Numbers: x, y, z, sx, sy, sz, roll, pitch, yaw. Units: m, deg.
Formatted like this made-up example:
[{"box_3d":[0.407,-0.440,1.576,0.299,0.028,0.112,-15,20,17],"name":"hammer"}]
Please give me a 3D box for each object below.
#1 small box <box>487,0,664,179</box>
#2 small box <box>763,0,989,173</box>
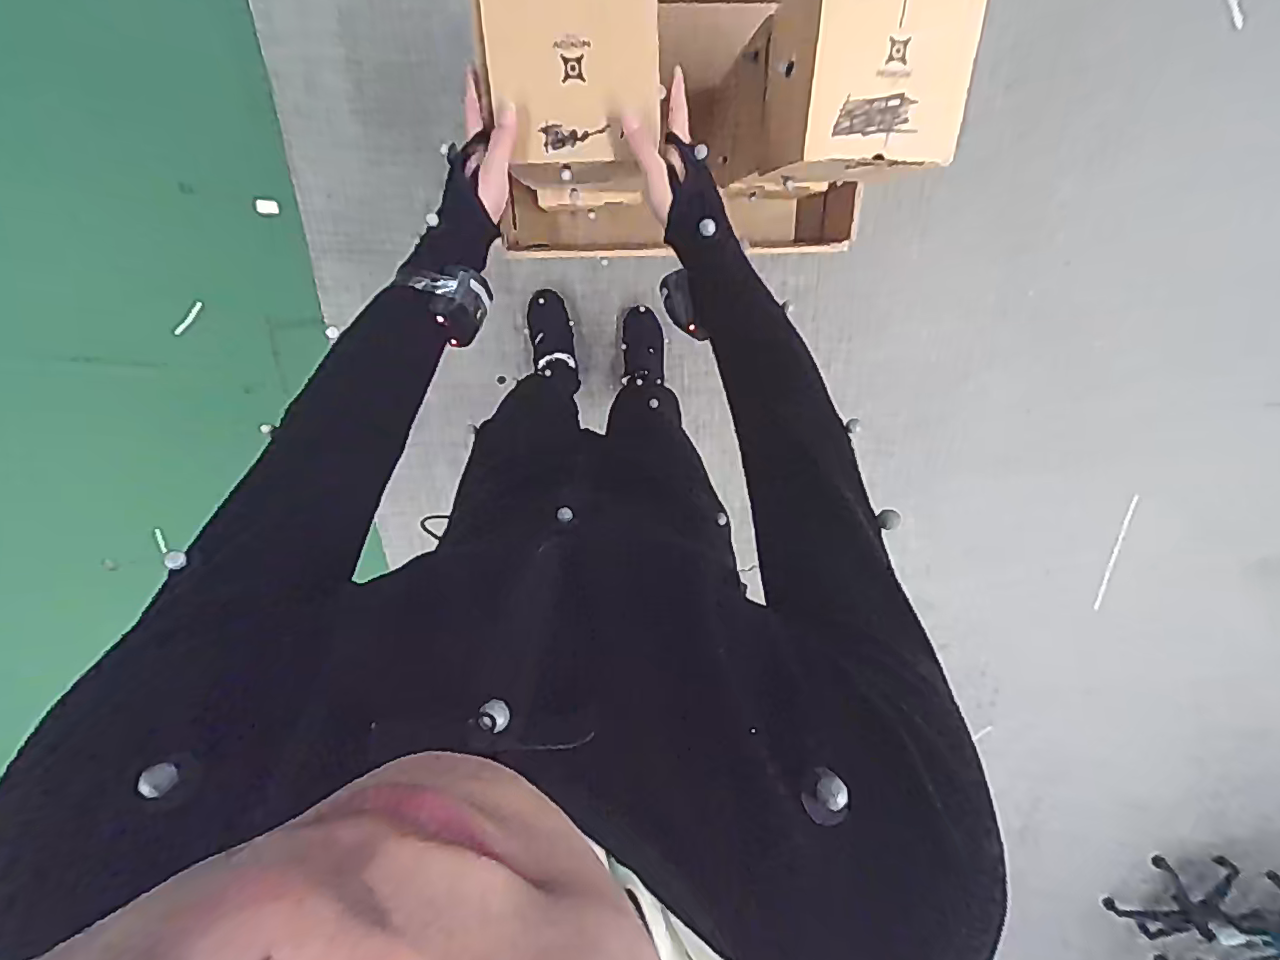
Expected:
[{"box_3d":[-0.065,-0.438,0.584,0.168,0.176,0.179,-3,113,-2],"name":"small box"},{"box_3d":[0.244,-0.450,0.601,0.168,0.176,0.179,-1,113,-6],"name":"small box"}]
